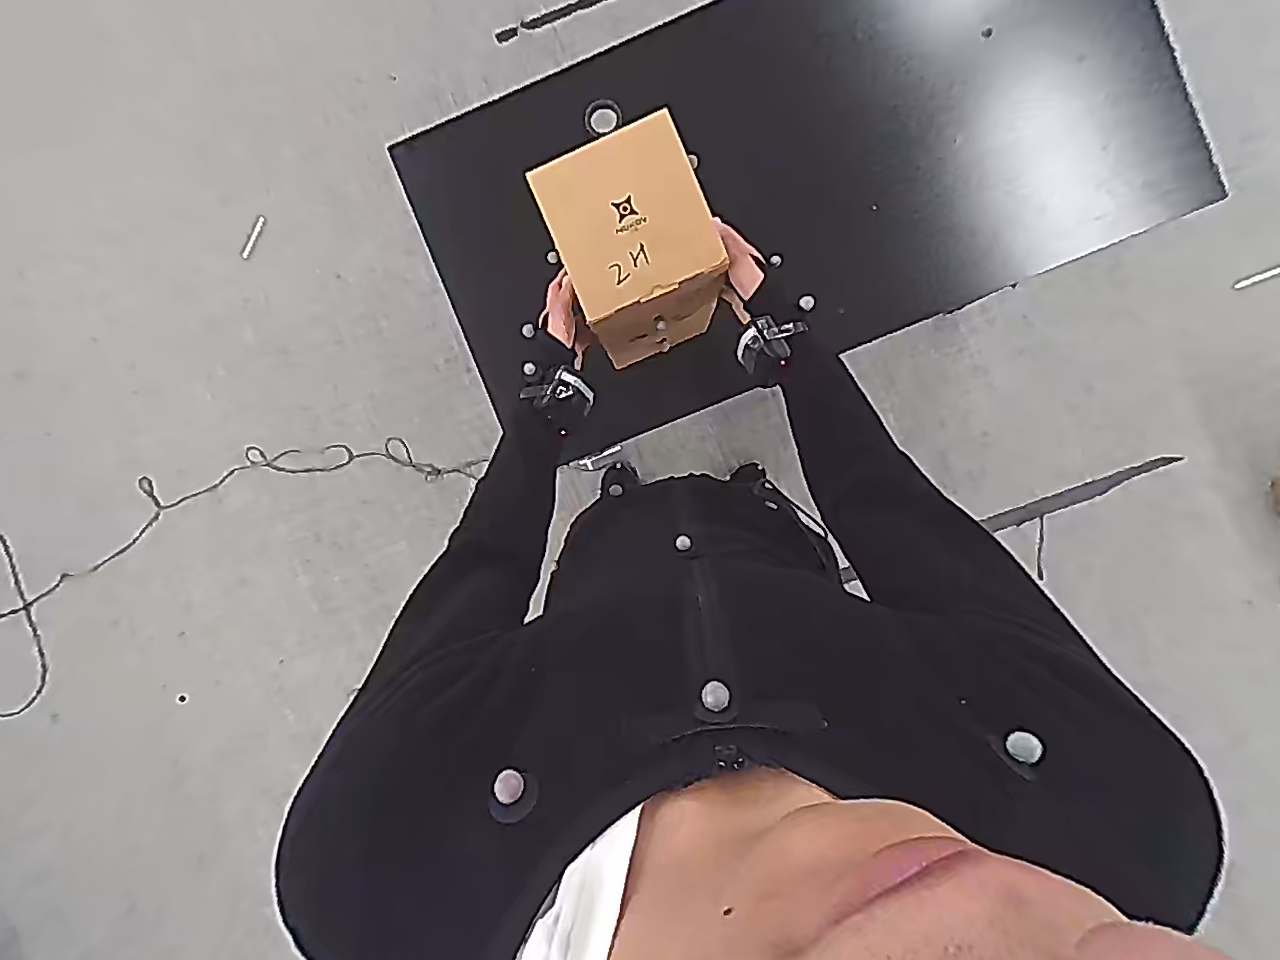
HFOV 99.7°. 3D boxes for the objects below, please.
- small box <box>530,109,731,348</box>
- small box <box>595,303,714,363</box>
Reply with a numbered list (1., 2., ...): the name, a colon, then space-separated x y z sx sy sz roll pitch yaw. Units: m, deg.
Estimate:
1. small box: -0.007 -0.280 0.645 0.168 0.176 0.179 -23 92 4
2. small box: 0.000 -0.287 0.810 0.168 0.176 0.179 -23 92 3
